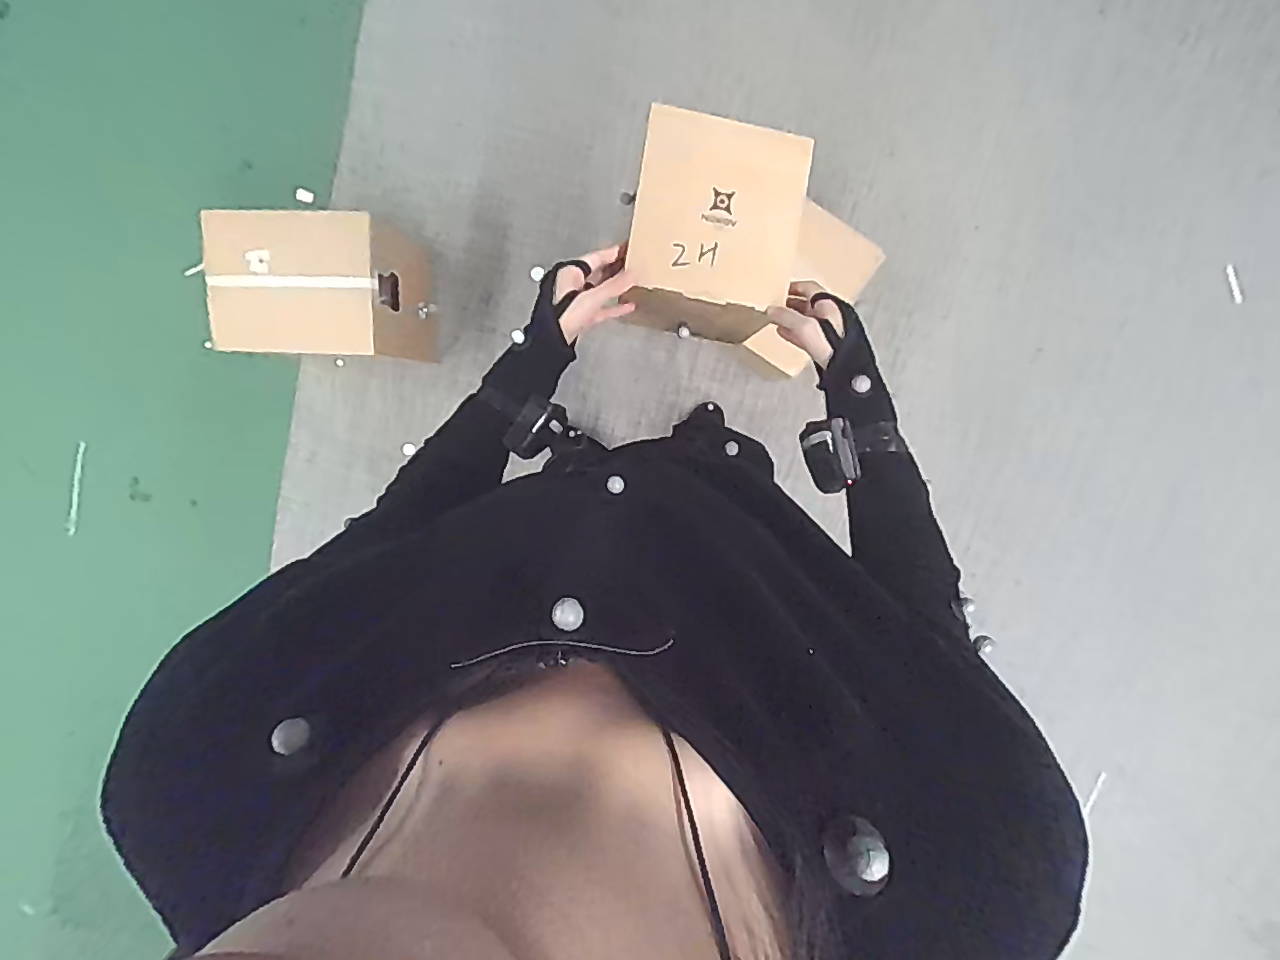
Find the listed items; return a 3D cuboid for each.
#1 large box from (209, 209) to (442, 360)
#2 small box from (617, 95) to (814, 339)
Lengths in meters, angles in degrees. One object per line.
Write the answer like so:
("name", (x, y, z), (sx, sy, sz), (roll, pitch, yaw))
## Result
("large box", (-0.762, -0.468, 1.364), (0.408, 0.320, 0.320), (3, 98, 6))
("small box", (0.068, -0.270, 0.599), (0.168, 0.176, 0.179), (9, 94, -5))
